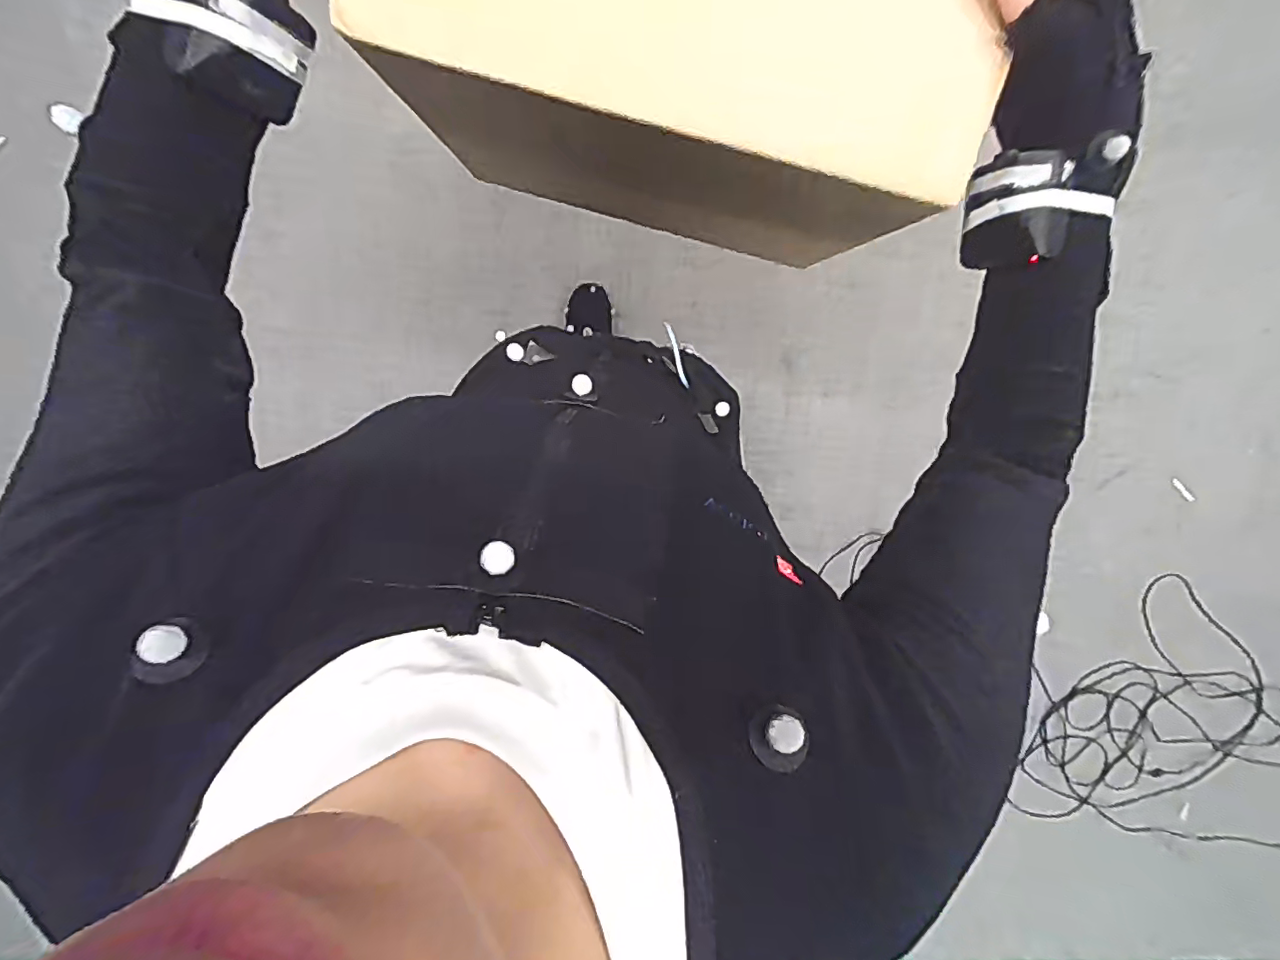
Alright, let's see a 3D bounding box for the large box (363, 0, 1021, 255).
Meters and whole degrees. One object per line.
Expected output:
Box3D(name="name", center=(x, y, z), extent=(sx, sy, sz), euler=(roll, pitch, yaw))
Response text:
Box3D(name="large box", center=(0.048, -0.417, 0.455), extent=(0.408, 0.320, 0.320), euler=(13, 104, -6))
